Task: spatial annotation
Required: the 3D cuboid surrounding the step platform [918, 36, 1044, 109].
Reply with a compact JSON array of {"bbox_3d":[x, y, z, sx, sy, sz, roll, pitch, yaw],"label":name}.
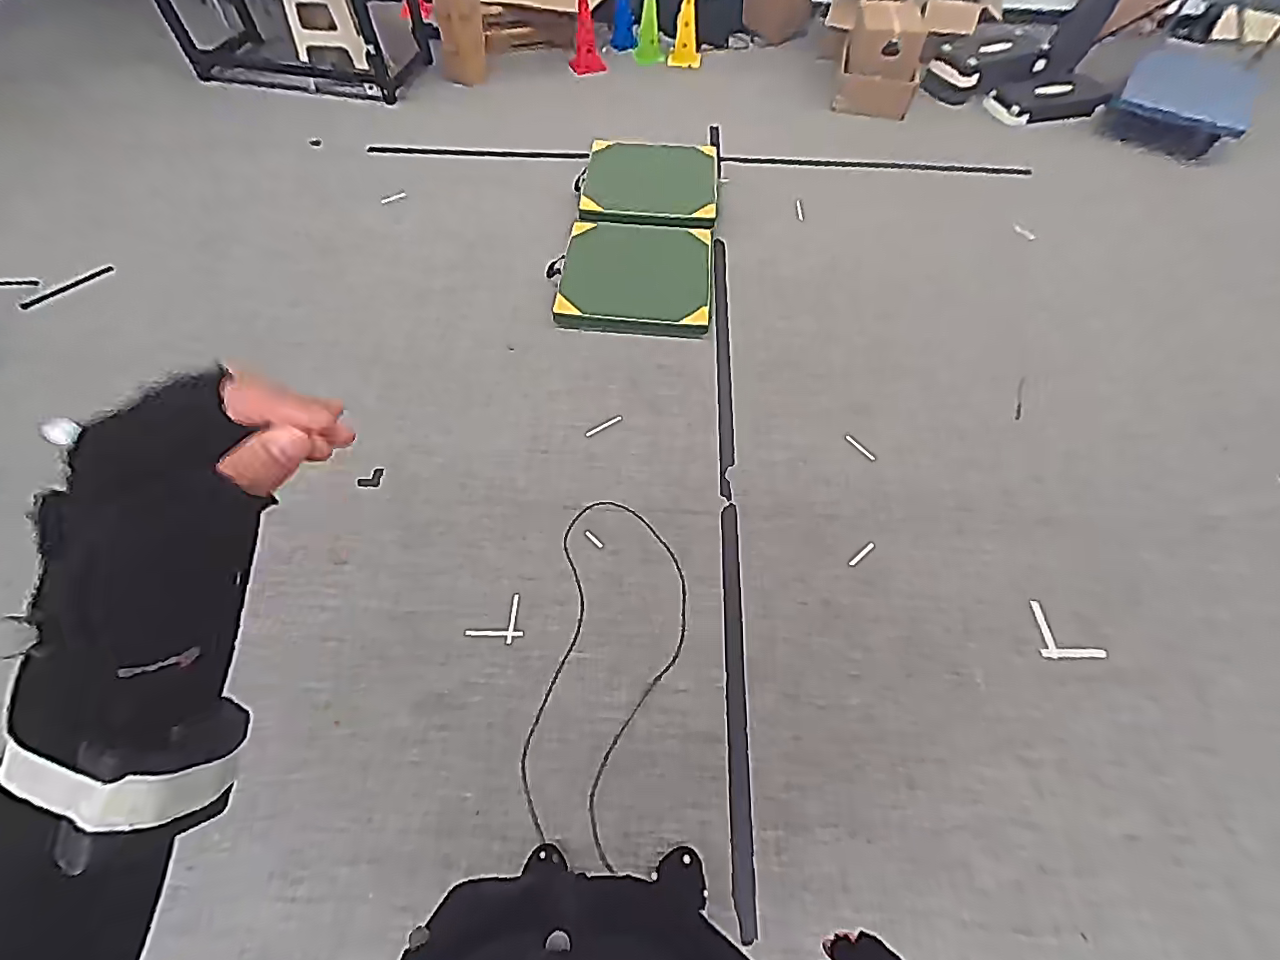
[{"bbox_3d":[1.996,-2.390,3.162,0.684,0.204,0.286,-22,61,-14],"label":"step platform"}]
